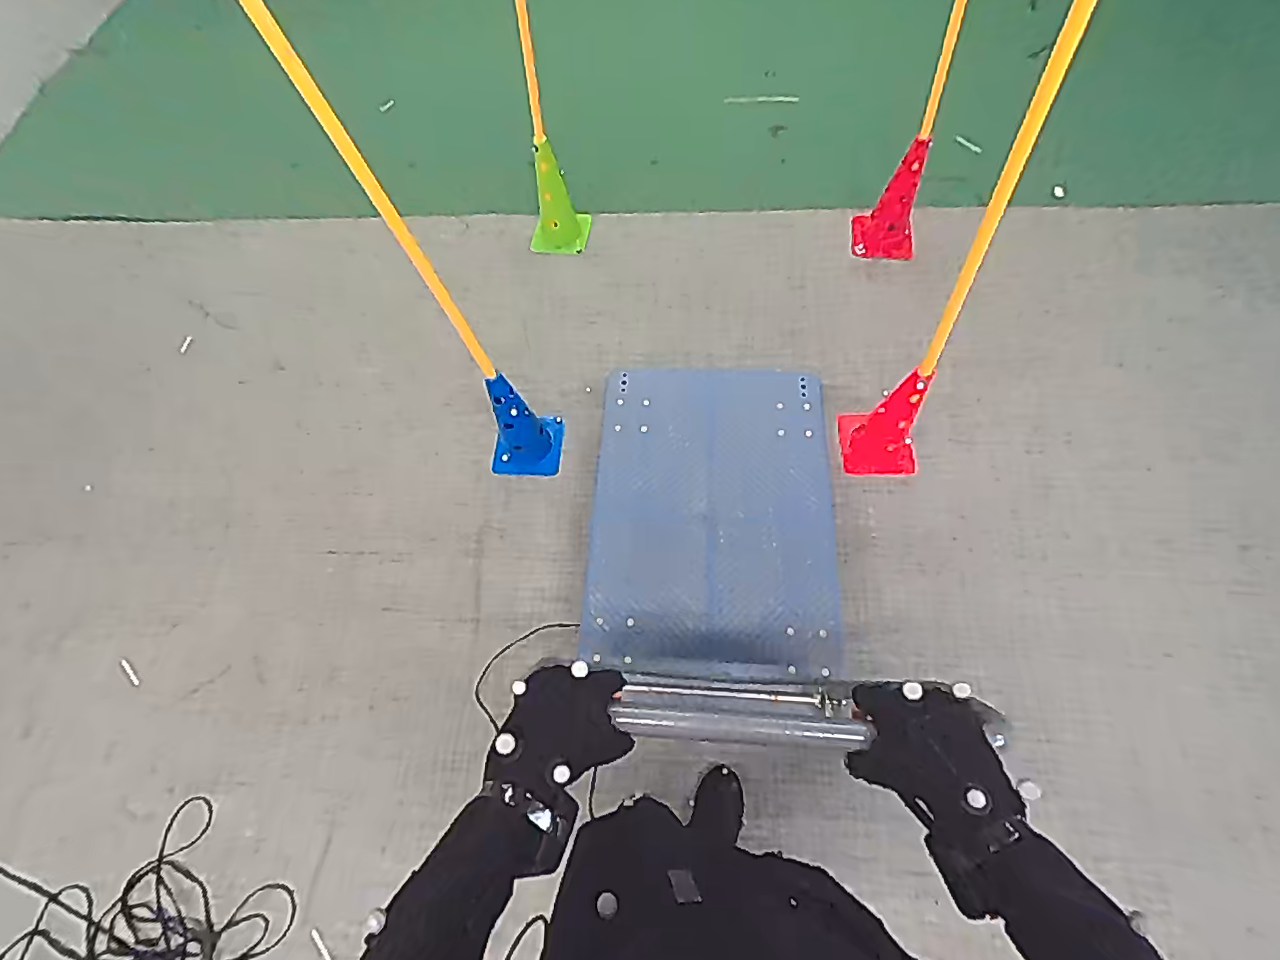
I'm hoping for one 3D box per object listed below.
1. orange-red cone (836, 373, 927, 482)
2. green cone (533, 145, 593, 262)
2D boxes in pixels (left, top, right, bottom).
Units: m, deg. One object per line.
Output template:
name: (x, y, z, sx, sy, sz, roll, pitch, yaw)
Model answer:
orange-red cone: (0.660, -0.157, 1.409, 0.199, 0.360, 0.198, 0, 64, 6)
green cone: (-0.296, -0.957, 1.843, 0.202, 0.368, 0.200, 5, 65, 7)
